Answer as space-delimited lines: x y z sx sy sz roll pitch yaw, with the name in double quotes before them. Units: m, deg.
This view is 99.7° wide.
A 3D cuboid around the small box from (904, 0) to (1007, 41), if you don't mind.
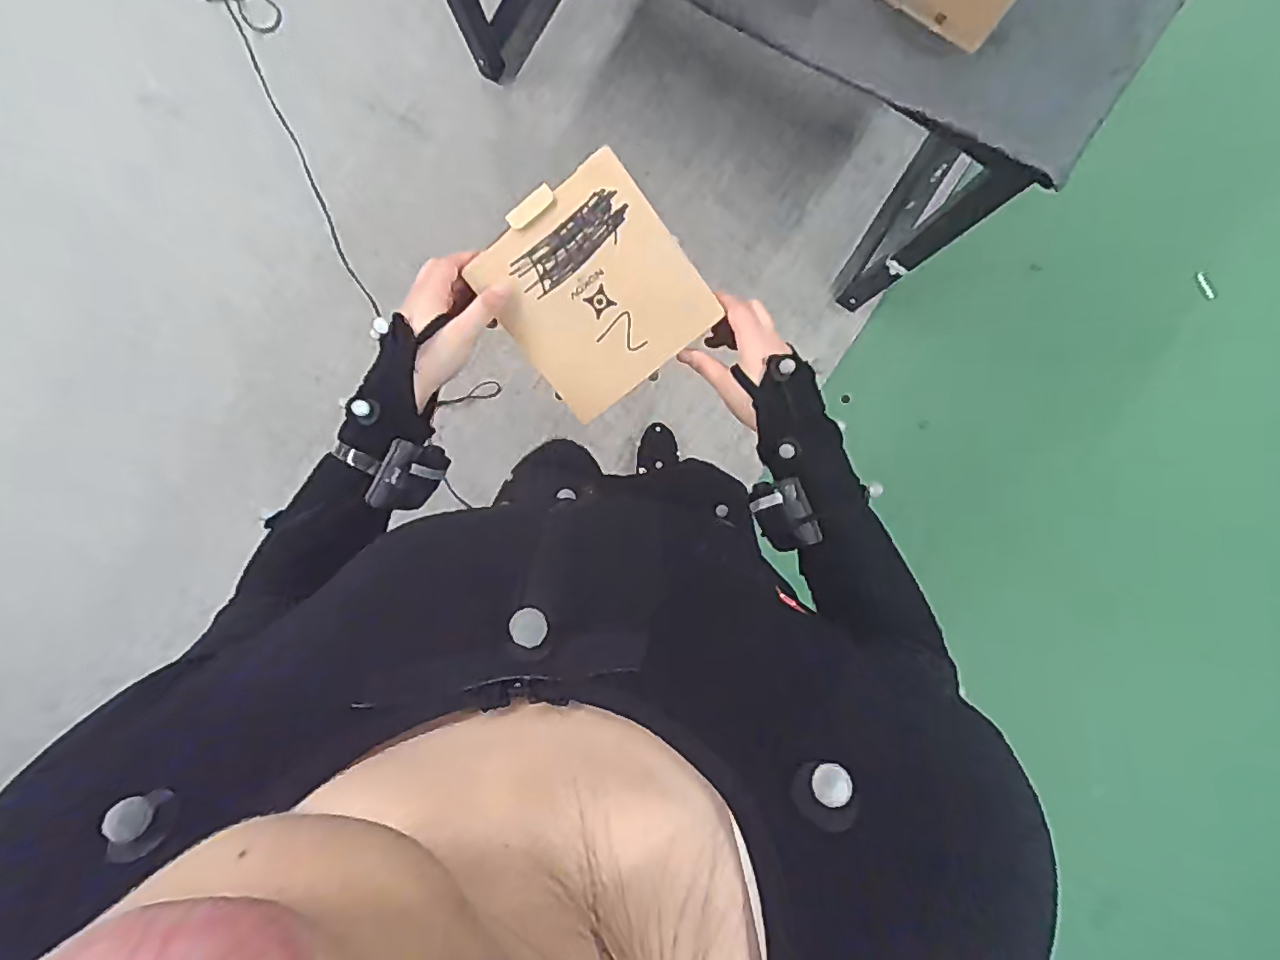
"small box" 0.398 -0.664 0.610 0.168 0.176 0.179 33 91 0
